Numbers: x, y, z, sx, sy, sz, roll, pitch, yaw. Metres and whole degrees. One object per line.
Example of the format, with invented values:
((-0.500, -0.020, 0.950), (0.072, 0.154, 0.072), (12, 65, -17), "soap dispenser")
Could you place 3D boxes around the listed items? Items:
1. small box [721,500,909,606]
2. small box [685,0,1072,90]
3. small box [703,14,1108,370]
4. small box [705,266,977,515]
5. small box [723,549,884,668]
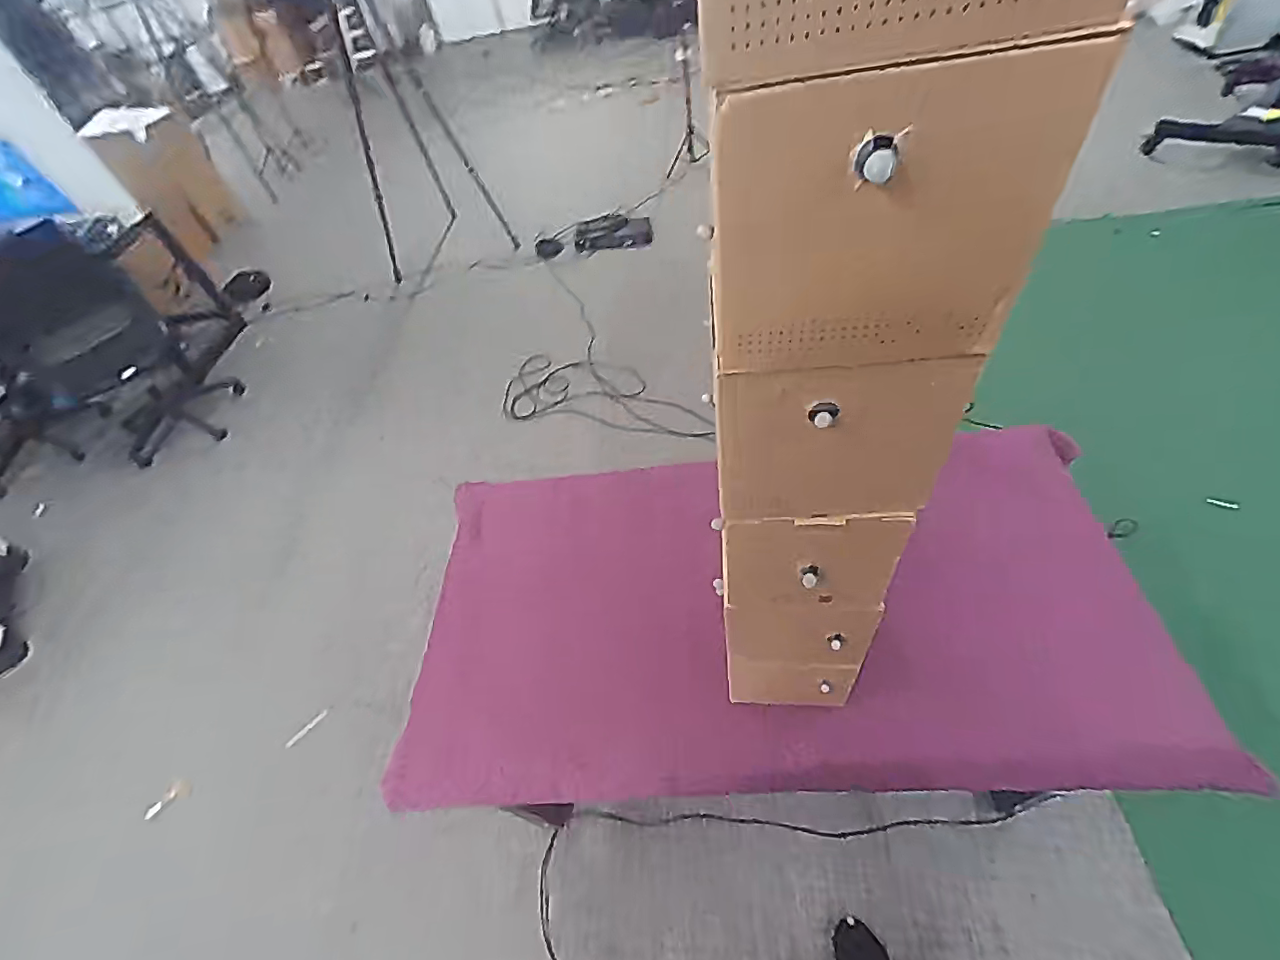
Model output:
((0.176, 0.026, 0.595), (0.168, 0.176, 0.179), (-2, 50, 10), "small box")
((0.106, -0.300, 0.234), (0.179, 0.176, 0.168), (-3, 49, 9), "small box")
((0.133, -0.189, 0.353), (0.179, 0.176, 0.168), (-3, 49, 9), "small box")
((0.151, -0.082, 0.473), (0.179, 0.176, 0.168), (-3, 49, 8), "small box")
((0.200, 0.136, 0.712), (0.179, 0.176, 0.168), (-2, 49, 10), "small box")
